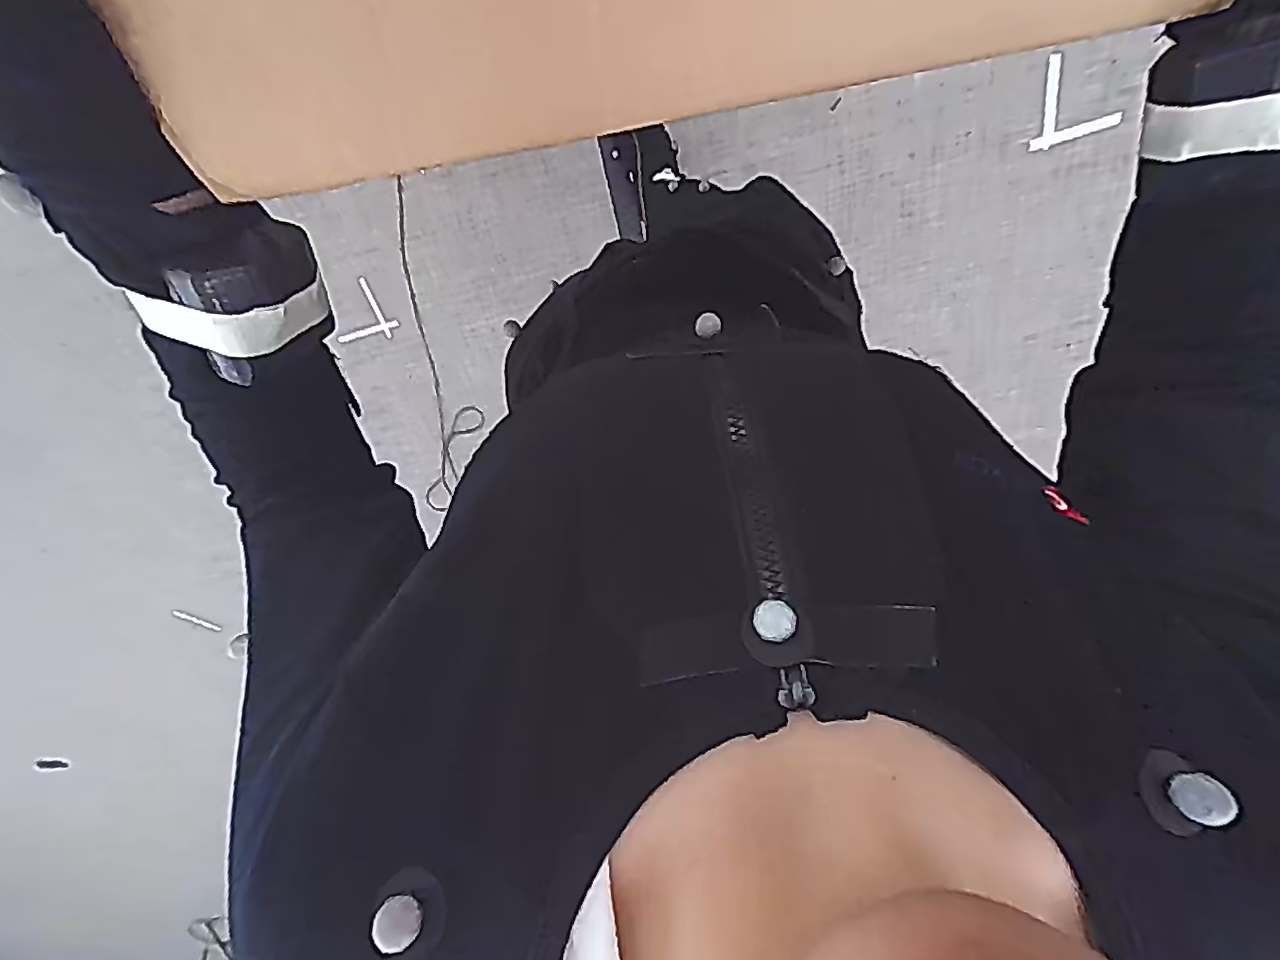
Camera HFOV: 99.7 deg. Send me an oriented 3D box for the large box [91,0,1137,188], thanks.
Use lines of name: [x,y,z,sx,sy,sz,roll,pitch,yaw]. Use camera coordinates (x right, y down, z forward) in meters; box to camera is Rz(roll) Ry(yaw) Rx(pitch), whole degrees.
large box: [-0.016,-0.366,0.189,0.408,0.320,0.320,-9,143,3]
